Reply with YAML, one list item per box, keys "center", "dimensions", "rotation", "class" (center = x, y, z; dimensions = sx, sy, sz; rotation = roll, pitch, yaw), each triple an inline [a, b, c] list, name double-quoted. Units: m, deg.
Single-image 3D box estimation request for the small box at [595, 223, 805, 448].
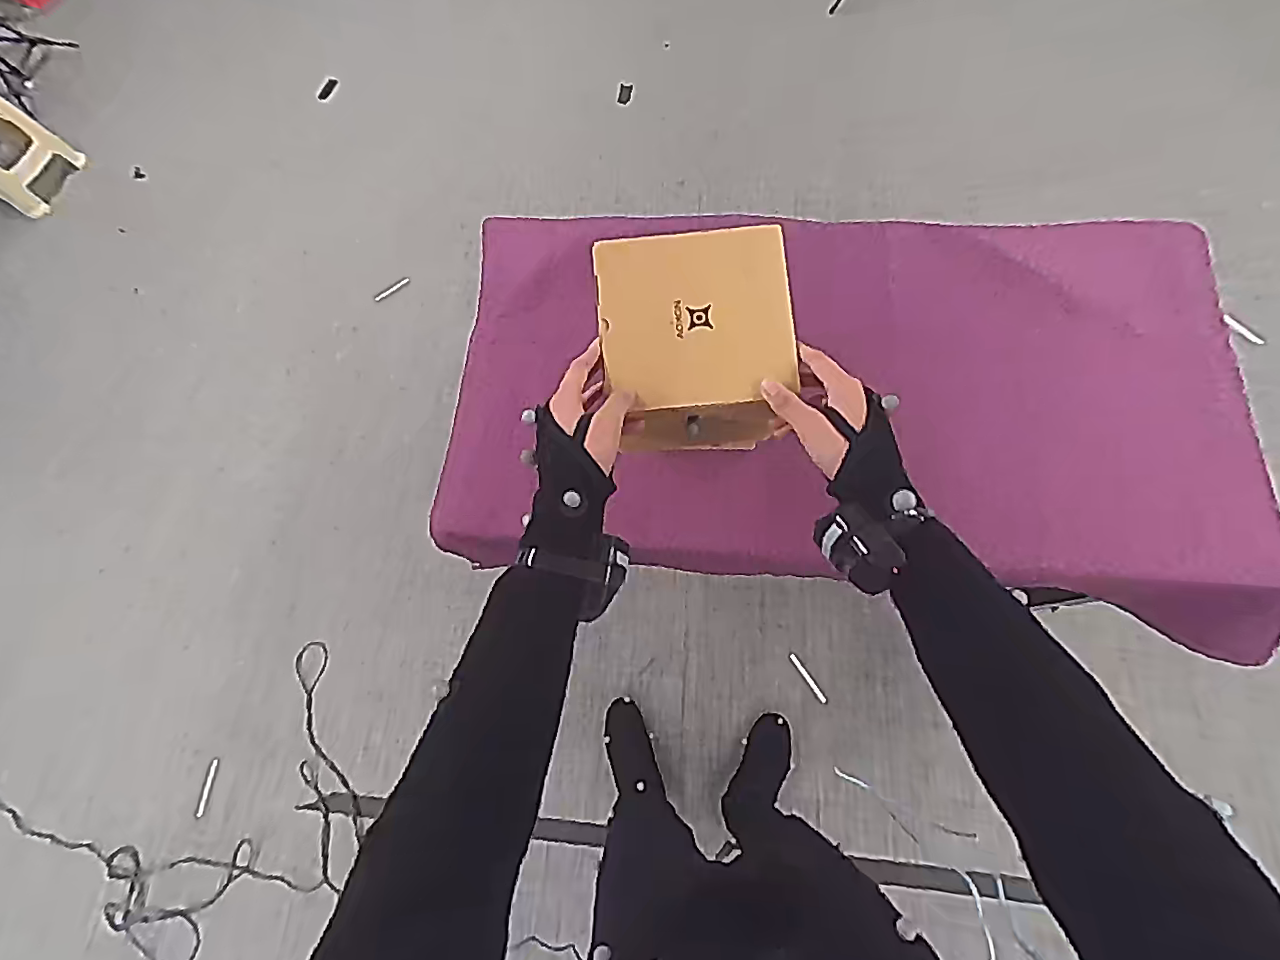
- center: [0.055, -0.133, 0.555]
  dimensions: [0.179, 0.176, 0.168]
  rotation: [-5, 82, 3]
  class: "small box"
